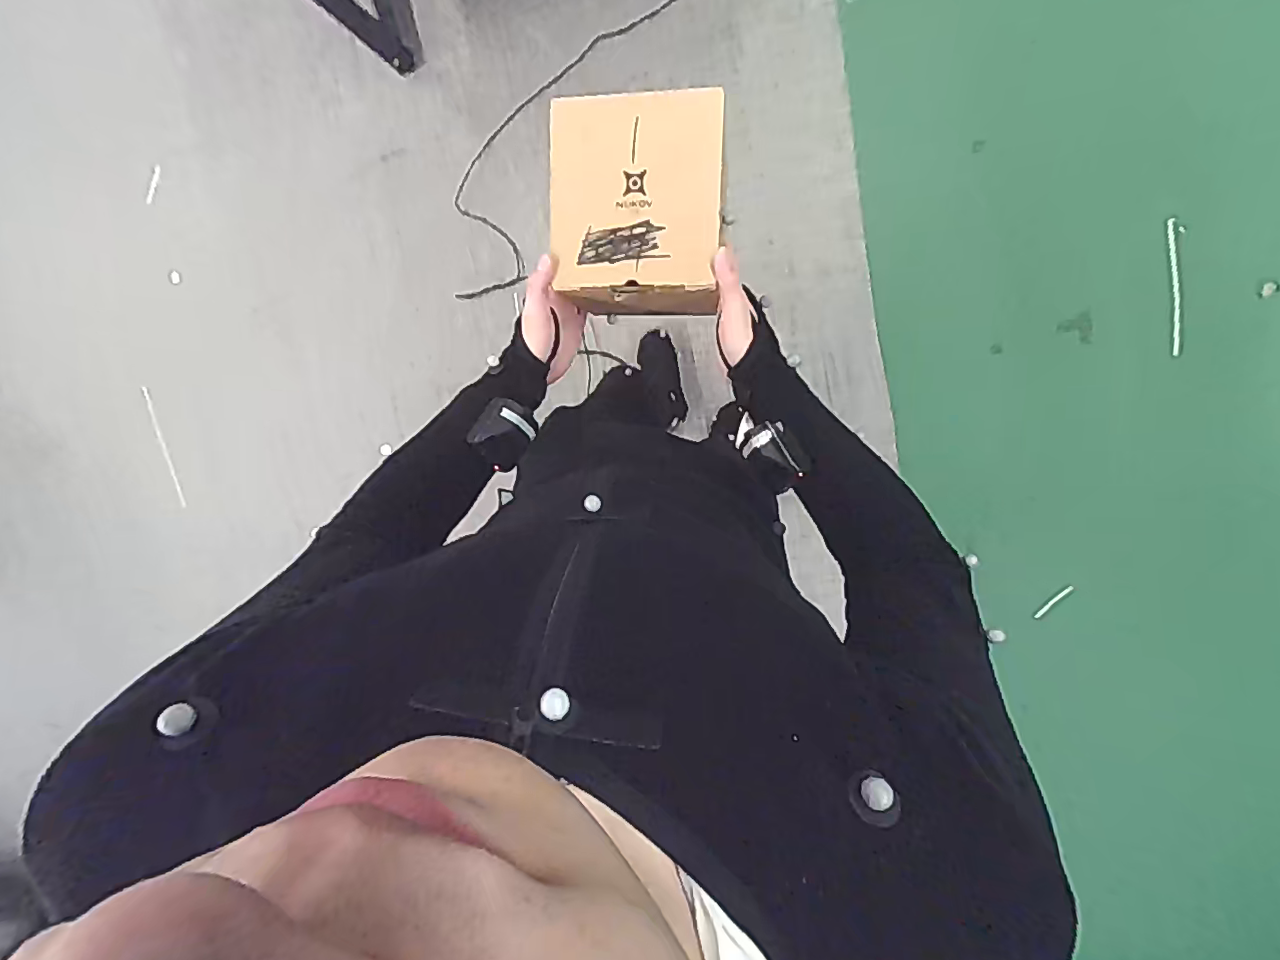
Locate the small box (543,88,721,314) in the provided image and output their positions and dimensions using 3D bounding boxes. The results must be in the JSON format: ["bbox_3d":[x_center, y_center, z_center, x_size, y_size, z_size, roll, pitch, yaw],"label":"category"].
[{"bbox_3d":[0.001,-0.280,0.588,0.168,0.176,0.179,2,97,10],"label":"small box"}]
